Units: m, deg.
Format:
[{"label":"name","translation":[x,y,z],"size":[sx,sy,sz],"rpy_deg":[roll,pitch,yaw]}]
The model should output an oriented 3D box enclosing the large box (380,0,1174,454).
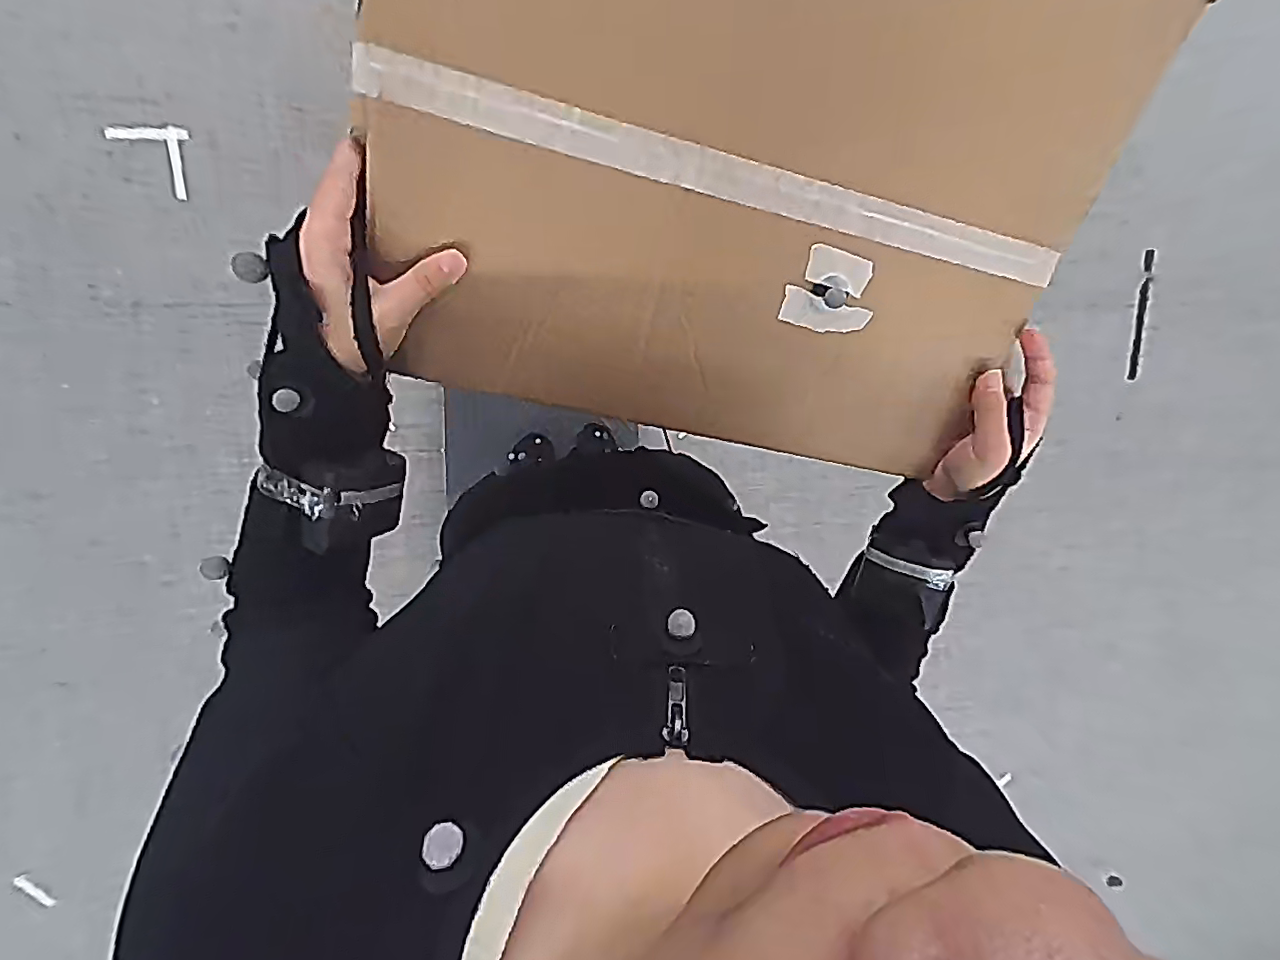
[{"label":"large box","translation":[0.047,-0.253,0.436],"size":[0.408,0.320,0.320],"rpy_deg":[10,119,-12]}]
